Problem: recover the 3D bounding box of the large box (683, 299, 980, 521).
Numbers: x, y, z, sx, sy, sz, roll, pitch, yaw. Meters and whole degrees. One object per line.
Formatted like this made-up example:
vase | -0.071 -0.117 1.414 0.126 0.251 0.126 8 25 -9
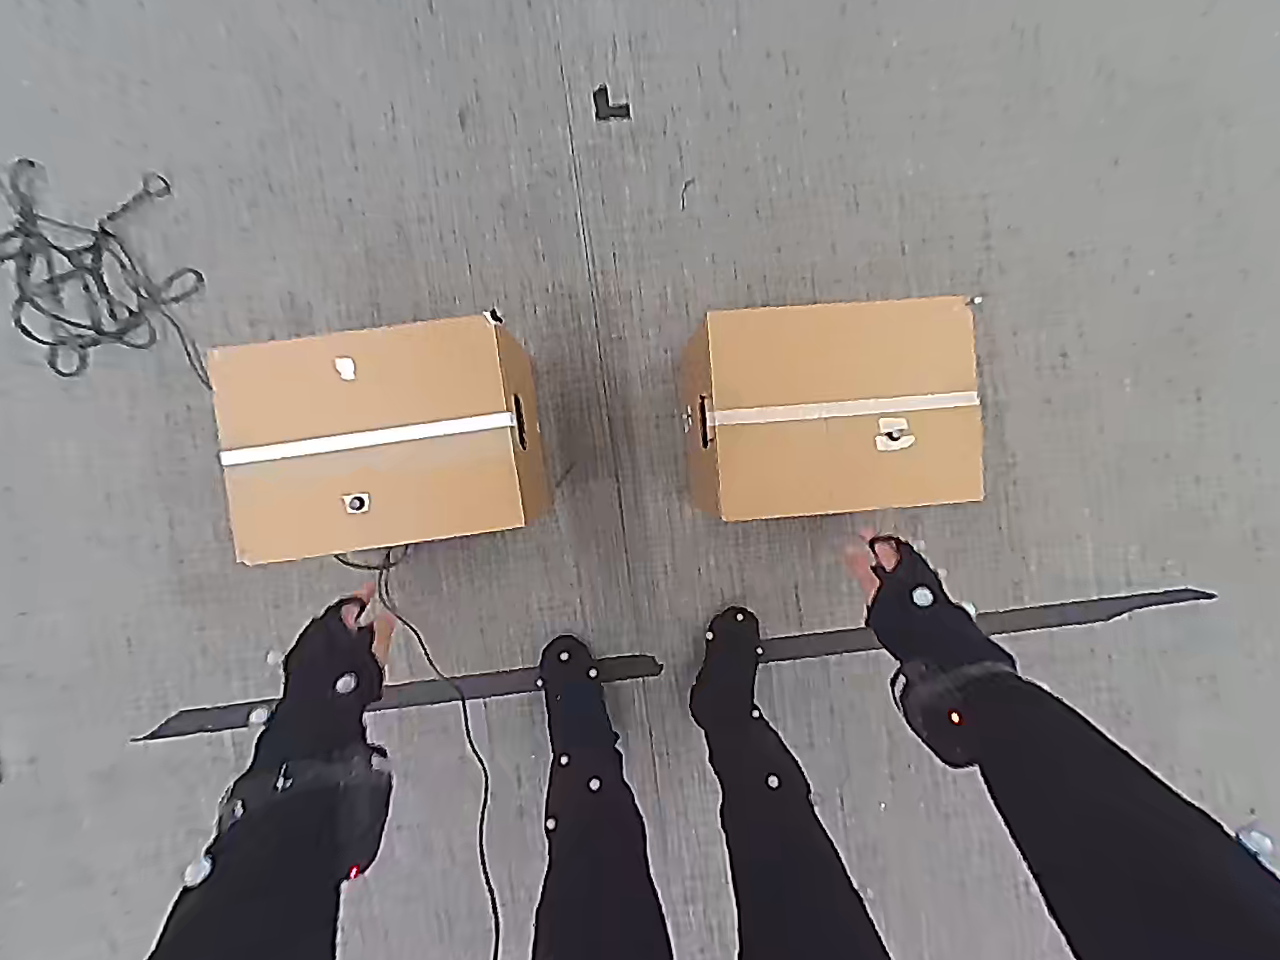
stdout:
large box | 0.304 -0.109 0.964 0.408 0.320 0.320 -4 92 -3
